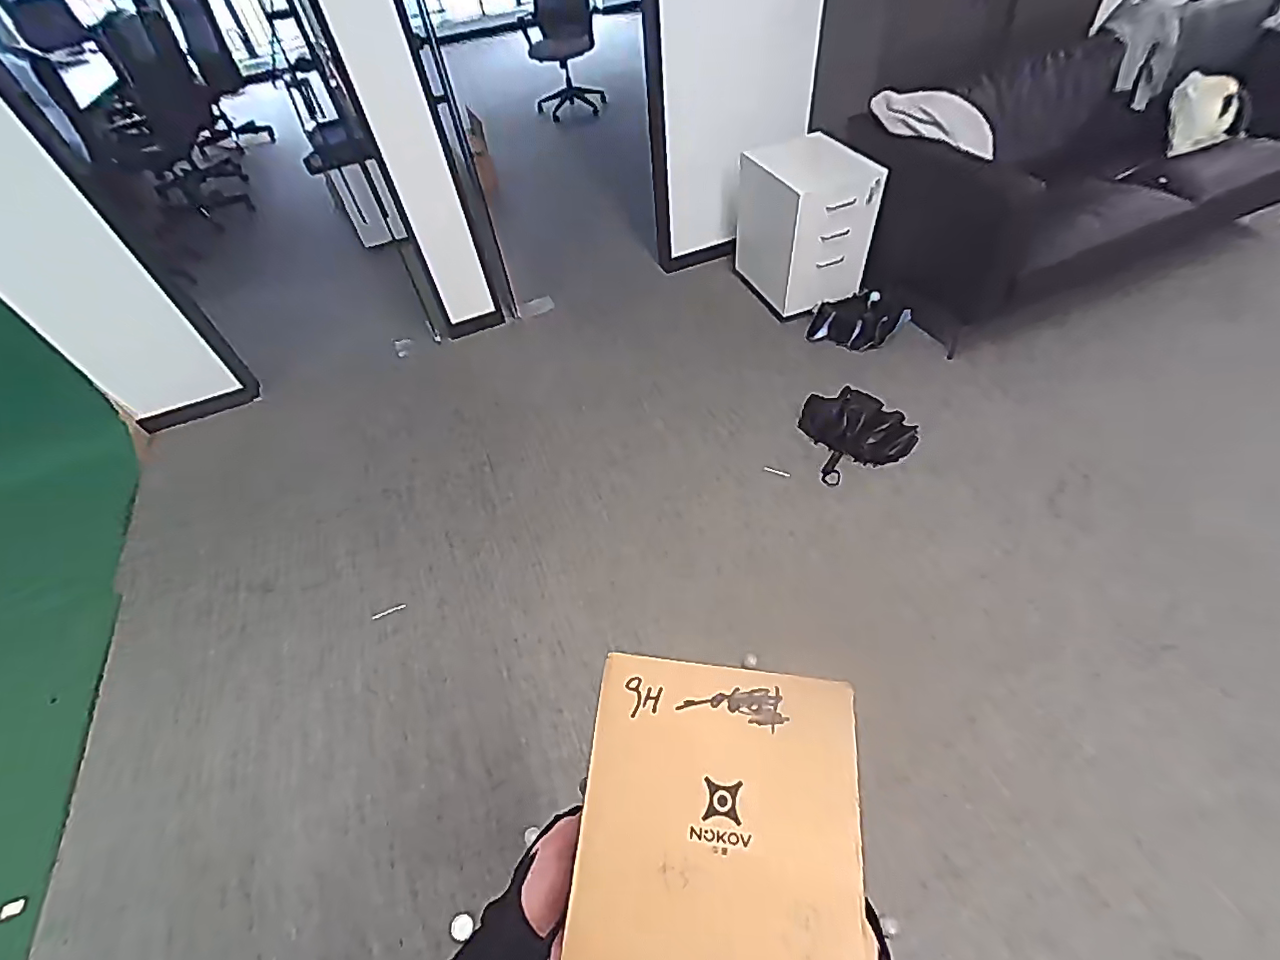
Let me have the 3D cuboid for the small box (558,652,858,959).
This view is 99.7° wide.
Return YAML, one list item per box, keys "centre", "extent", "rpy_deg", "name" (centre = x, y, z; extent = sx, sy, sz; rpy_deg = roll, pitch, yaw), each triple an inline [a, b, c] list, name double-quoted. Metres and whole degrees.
- centre: [0.049, 0.238, 0.397]
  extent: [0.168, 0.176, 0.179]
  rpy_deg: [6, 64, 5]
  name: "small box"
